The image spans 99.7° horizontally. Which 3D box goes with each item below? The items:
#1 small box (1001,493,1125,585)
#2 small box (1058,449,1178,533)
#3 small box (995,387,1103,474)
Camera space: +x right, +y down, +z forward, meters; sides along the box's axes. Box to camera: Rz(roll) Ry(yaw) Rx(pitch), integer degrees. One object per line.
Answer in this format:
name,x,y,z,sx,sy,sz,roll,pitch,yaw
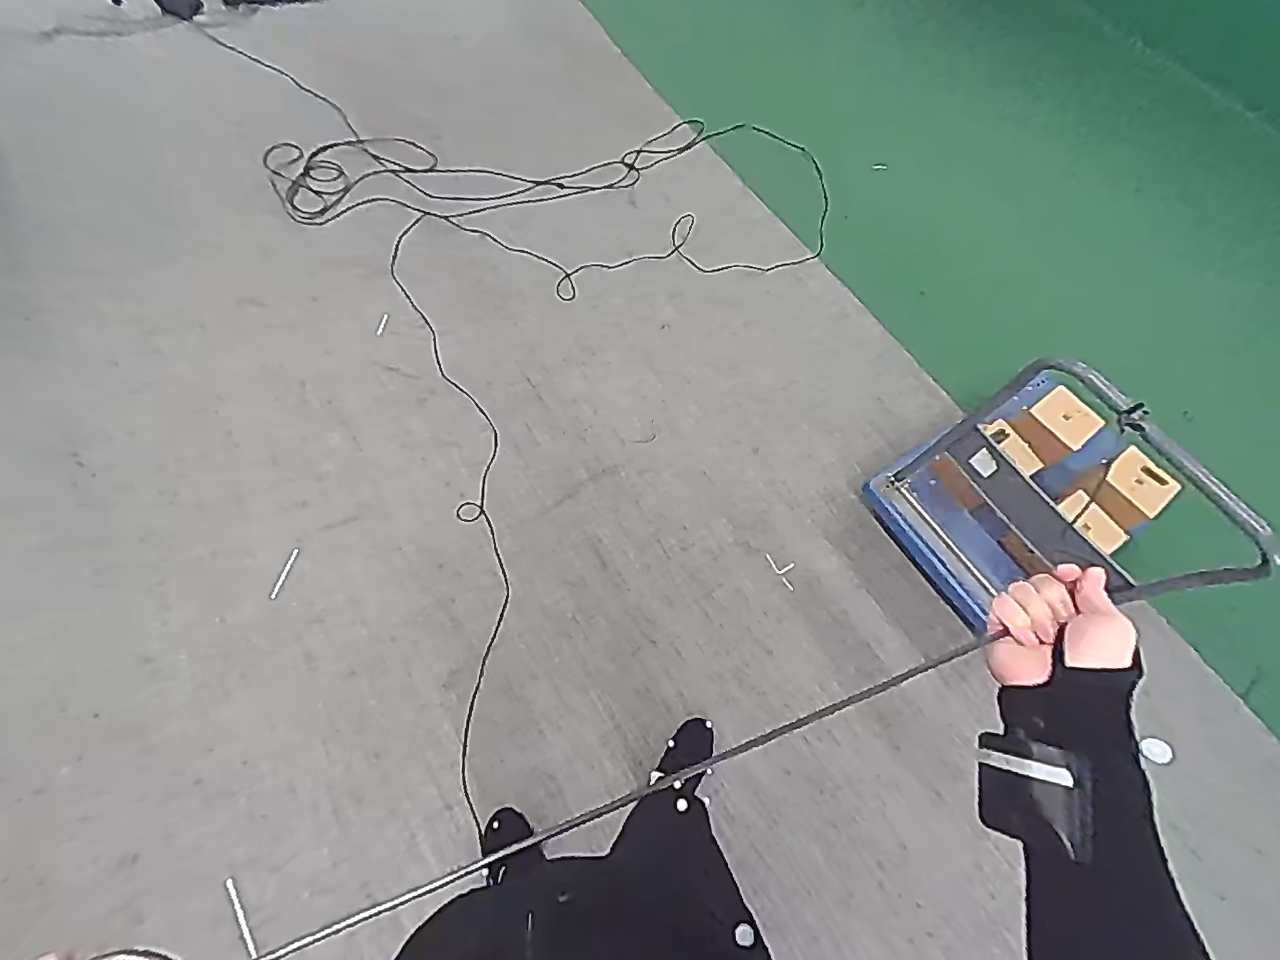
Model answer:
small box,1.160,0.166,1.499,0.179,0.176,0.168,-28,71,-17
small box,1.387,0.044,1.582,0.179,0.176,0.168,-32,72,-18
small box,1.237,-0.145,1.654,0.179,0.176,0.168,-32,73,-19
